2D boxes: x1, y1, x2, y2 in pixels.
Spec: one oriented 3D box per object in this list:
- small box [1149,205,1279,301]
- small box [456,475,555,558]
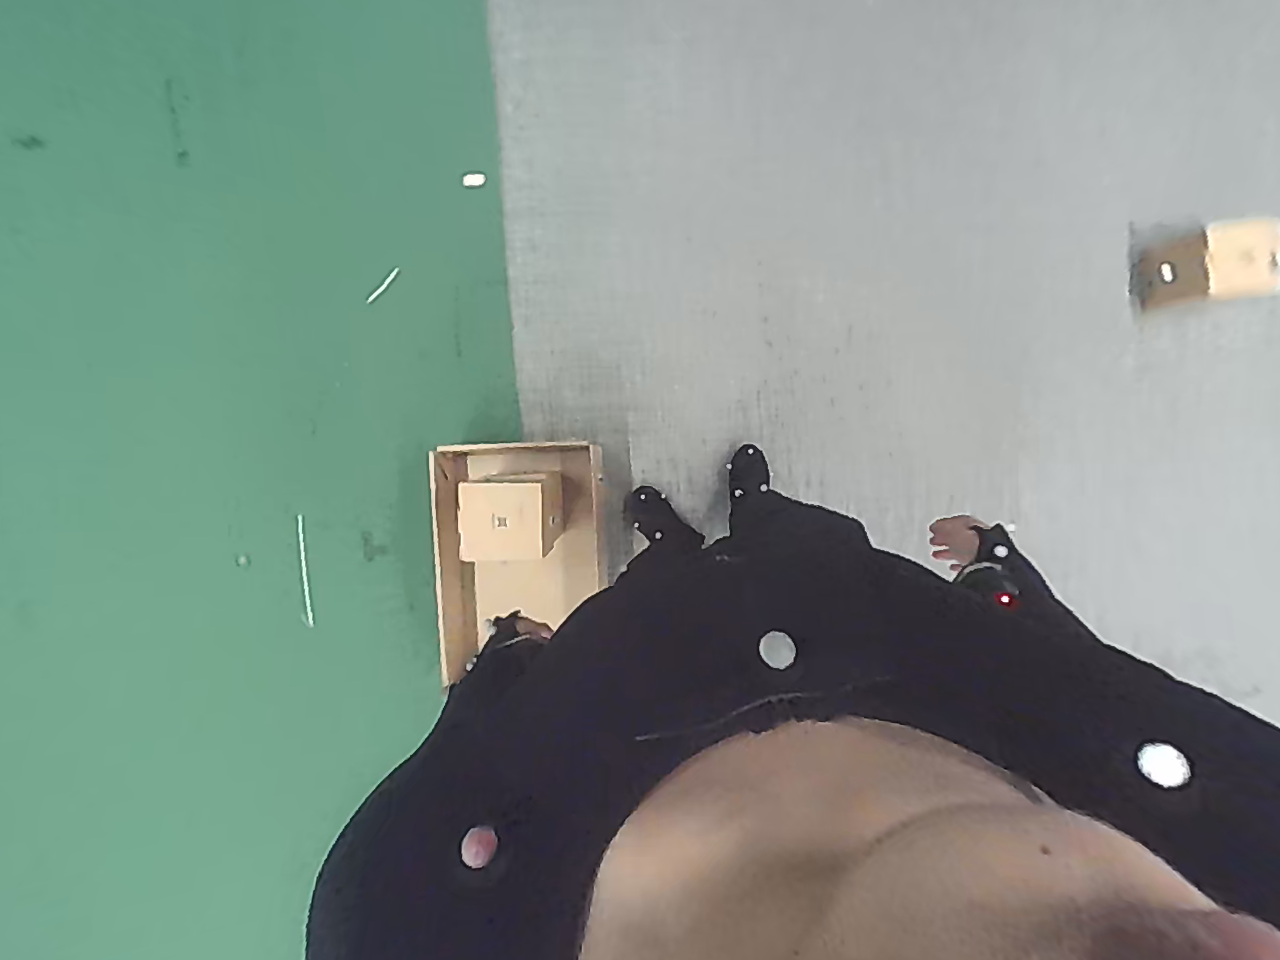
[{"bbox_3d":[1.408,-0.550,1.329,0.179,0.176,0.168,-4,93,2],"label":"small box"},{"bbox_3d":[-0.287,0.075,1.184,0.179,0.176,0.168,-1,93,-1],"label":"small box"}]
